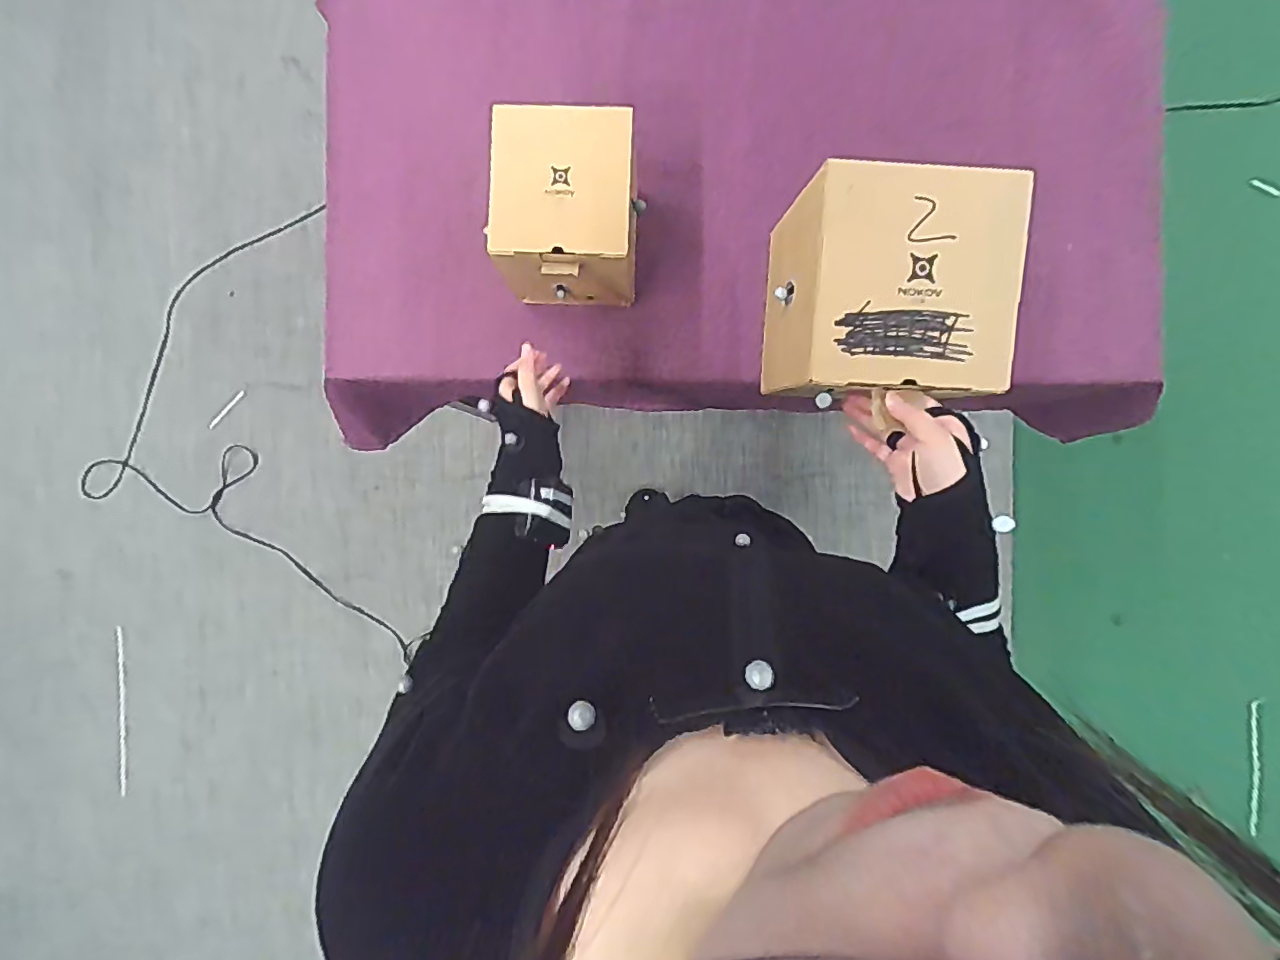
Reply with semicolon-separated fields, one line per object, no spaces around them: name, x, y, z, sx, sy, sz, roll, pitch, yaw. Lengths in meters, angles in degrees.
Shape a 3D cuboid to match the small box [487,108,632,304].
small box;-0.096;-0.351;0.720;0.168;0.176;0.179;2;90;1
